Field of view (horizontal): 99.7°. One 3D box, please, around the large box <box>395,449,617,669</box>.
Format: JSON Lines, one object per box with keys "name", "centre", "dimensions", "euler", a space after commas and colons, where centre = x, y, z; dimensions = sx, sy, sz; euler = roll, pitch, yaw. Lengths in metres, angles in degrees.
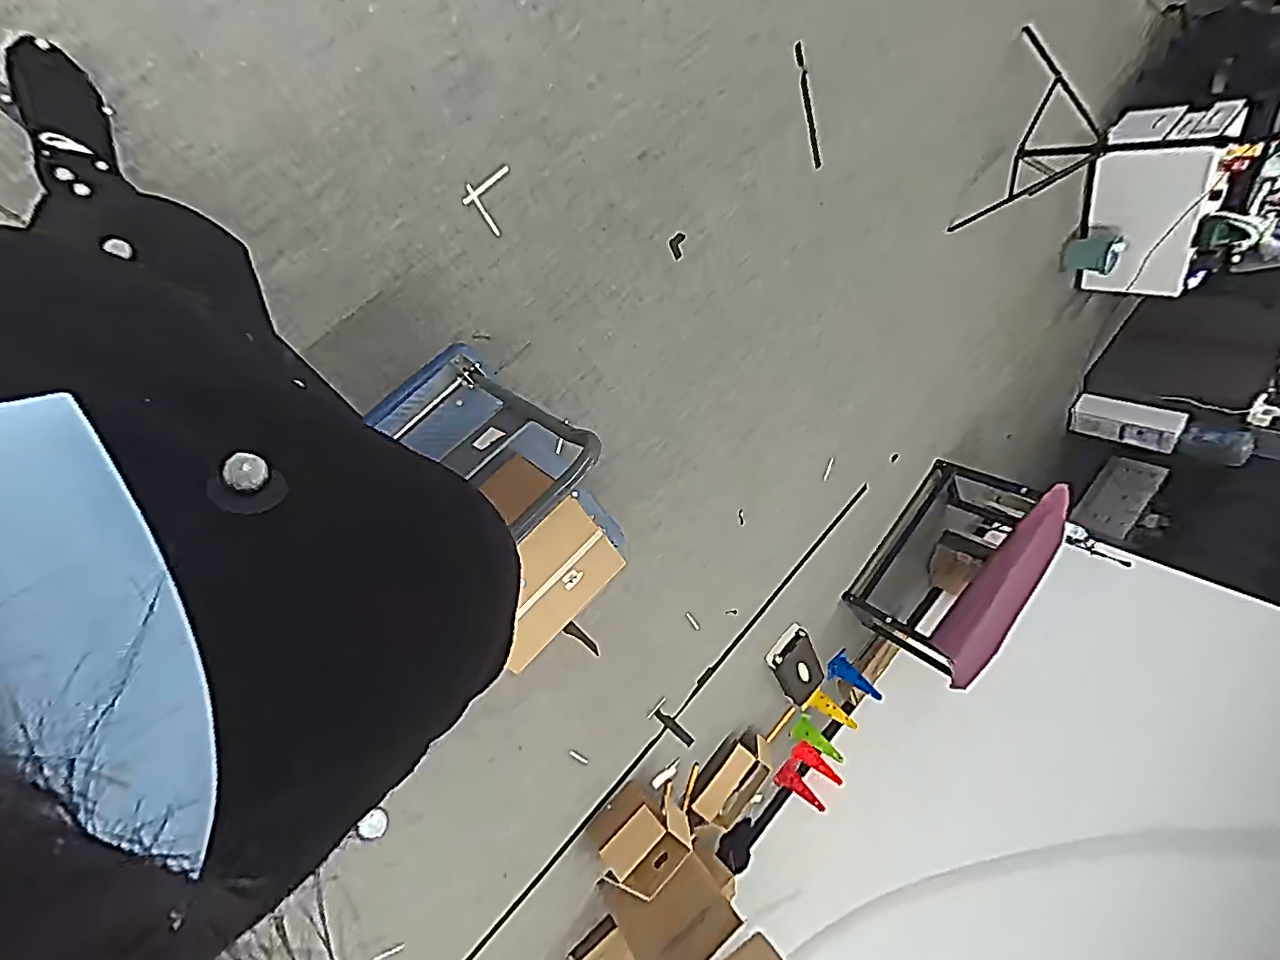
{"name": "large box", "centre": [-0.346, 0.193, 1.410], "dimensions": [0.408, 0.320, 0.320], "euler": [-45, 133, -15]}
